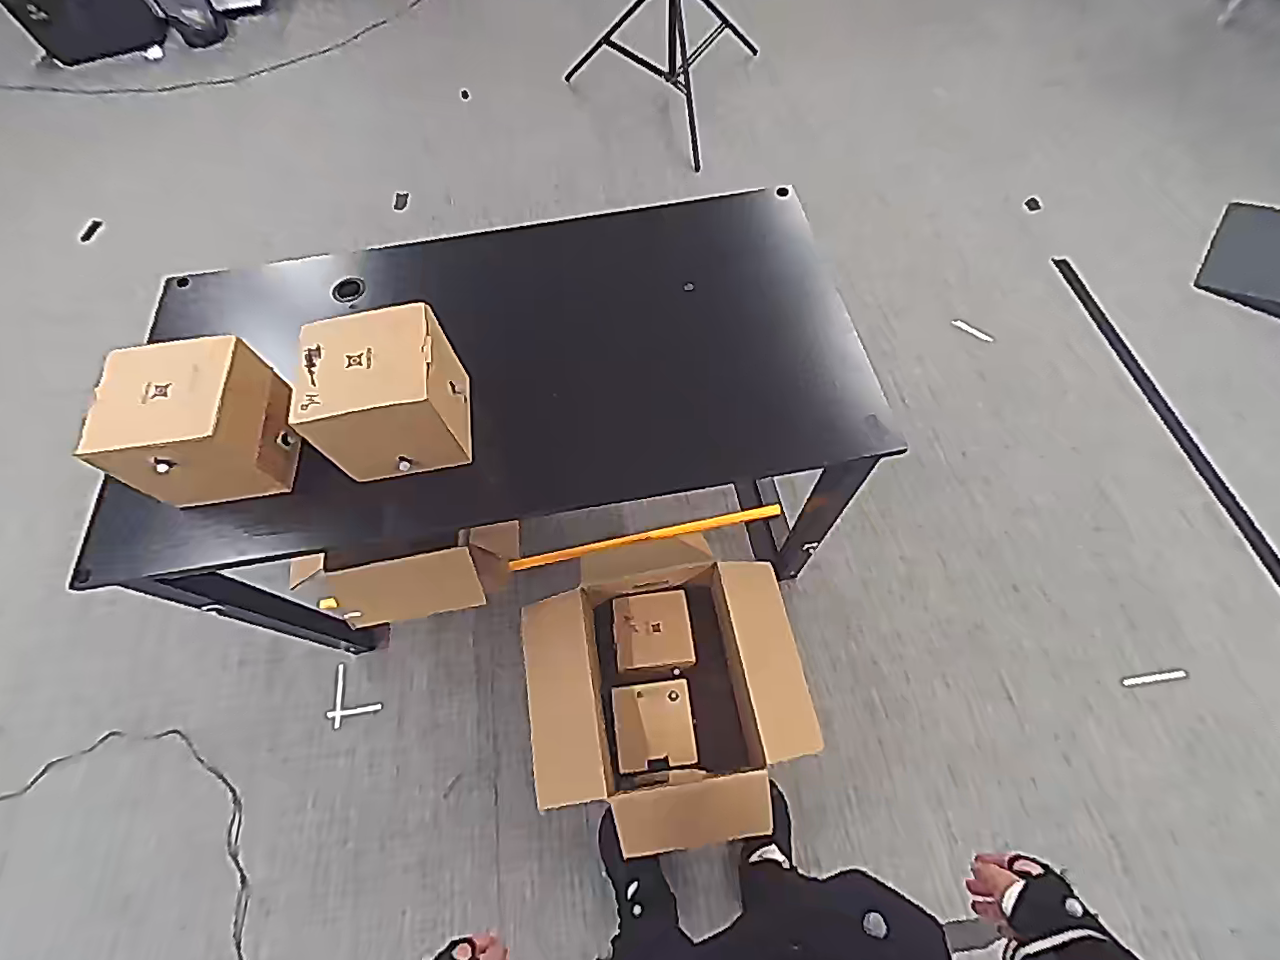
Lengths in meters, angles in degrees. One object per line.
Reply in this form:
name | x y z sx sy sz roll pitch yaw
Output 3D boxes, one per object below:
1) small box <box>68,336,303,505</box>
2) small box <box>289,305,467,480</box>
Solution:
small box | -0.614 -0.076 0.762 0.179 0.176 0.168 -7 64 -2
small box | -0.354 -0.117 0.769 0.179 0.176 0.168 -10 63 -3
